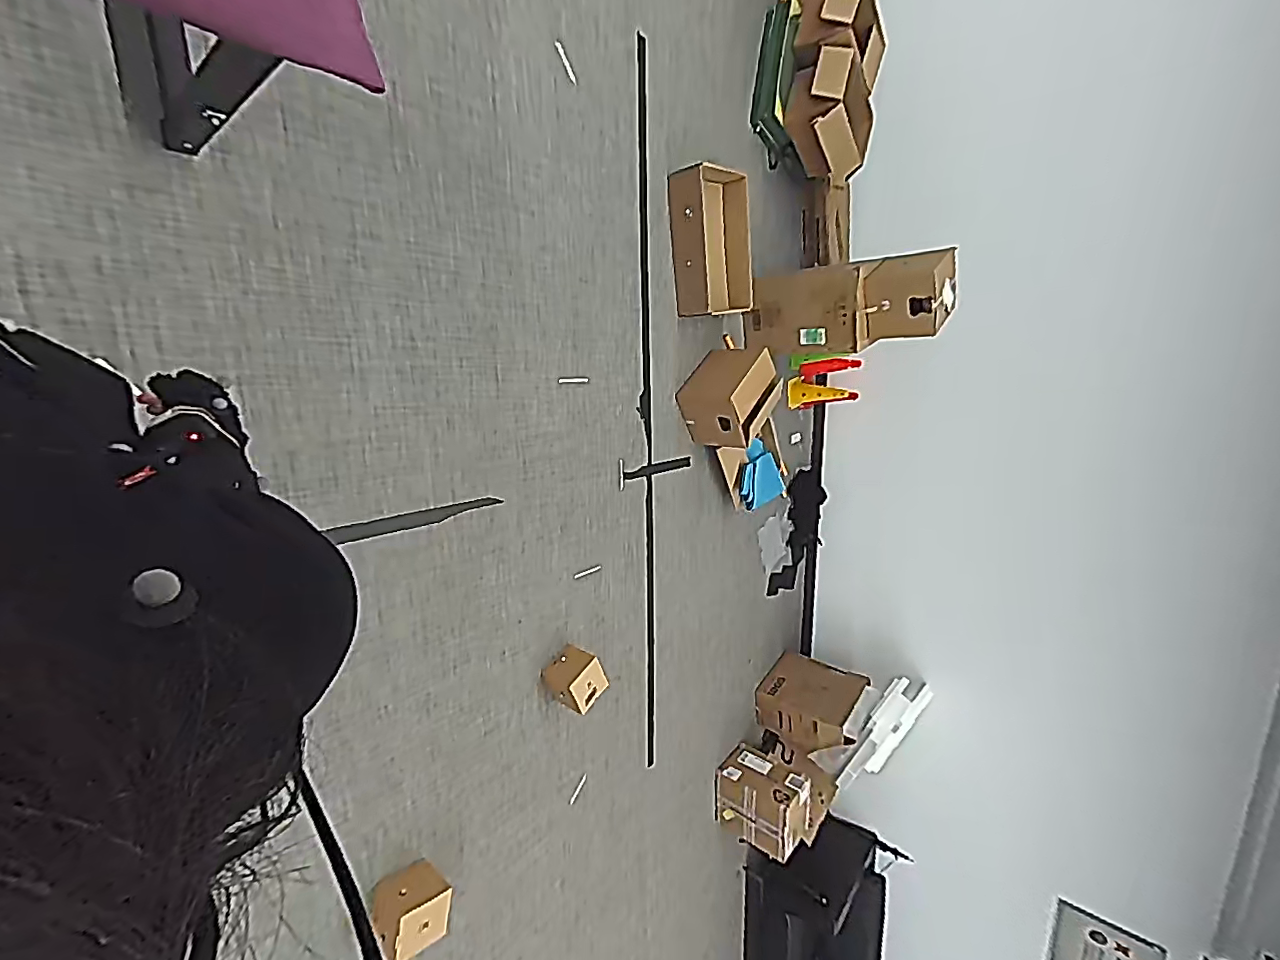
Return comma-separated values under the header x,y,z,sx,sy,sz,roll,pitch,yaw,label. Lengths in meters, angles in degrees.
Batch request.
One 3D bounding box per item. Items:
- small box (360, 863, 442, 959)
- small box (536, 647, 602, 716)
x,y,z,sx,sy,sz,roll,pitch,yaw,label
-0.759,1.375,1.713,0.179,0.176,0.168,5,95,-53,small box
-0.287,0.805,2.177,0.168,0.176,0.179,-42,127,-39,small box
